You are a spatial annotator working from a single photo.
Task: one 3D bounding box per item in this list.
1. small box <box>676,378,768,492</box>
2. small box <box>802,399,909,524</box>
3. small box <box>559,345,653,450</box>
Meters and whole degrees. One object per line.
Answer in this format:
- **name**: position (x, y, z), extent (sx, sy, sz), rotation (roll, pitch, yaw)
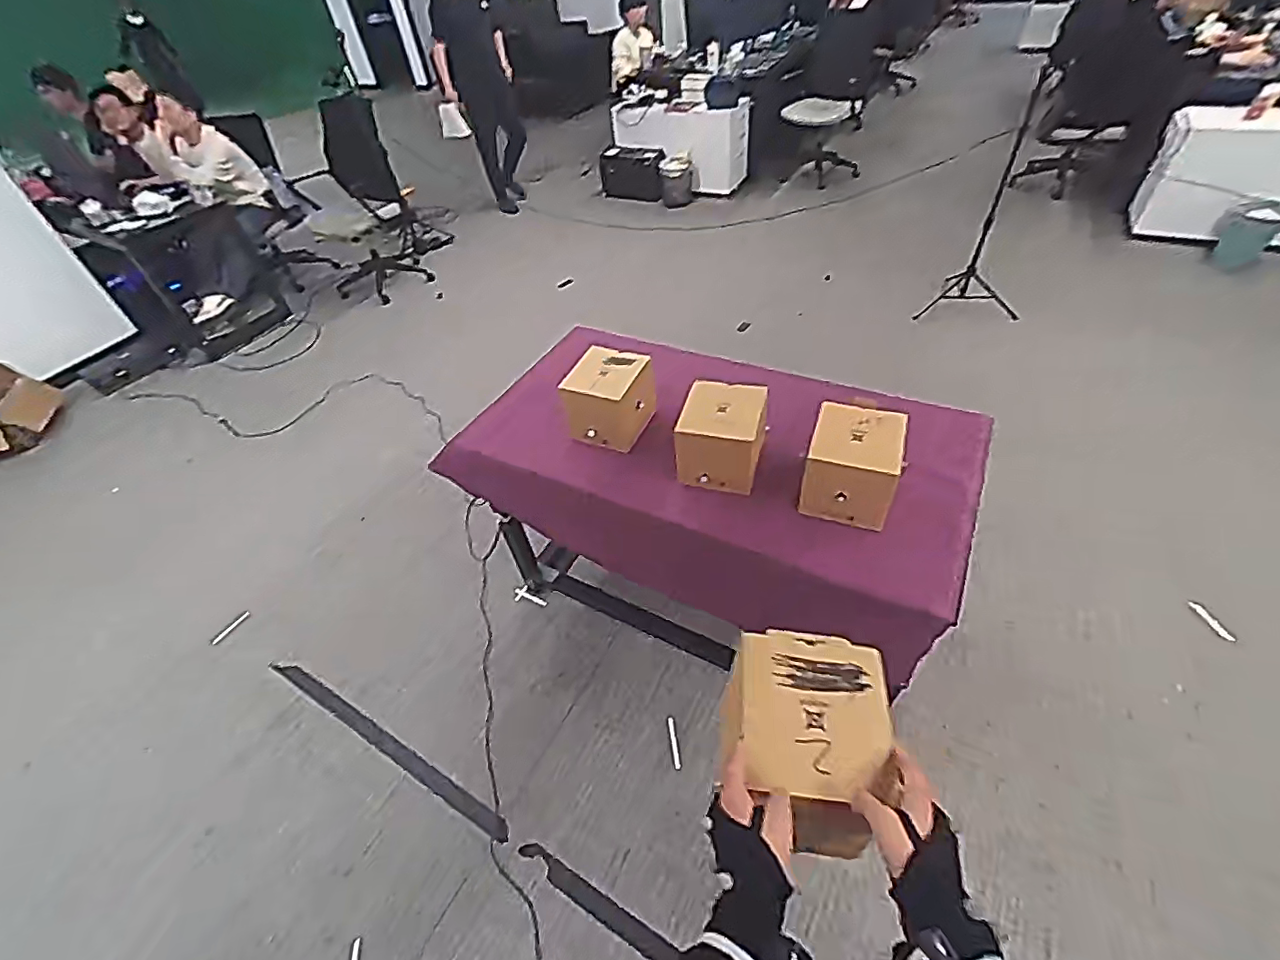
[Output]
- **small box**: position (0.183, -0.100, 1.198), extent (0.168, 0.176, 0.179), rotation (9, 49, 17)
- **small box**: position (0.433, -0.035, 1.099), extent (0.168, 0.176, 0.179), rotation (13, 49, 19)
- **small box**: position (-0.074, -0.203, 1.330), extent (0.168, 0.176, 0.179), rotation (15, 51, 21)
